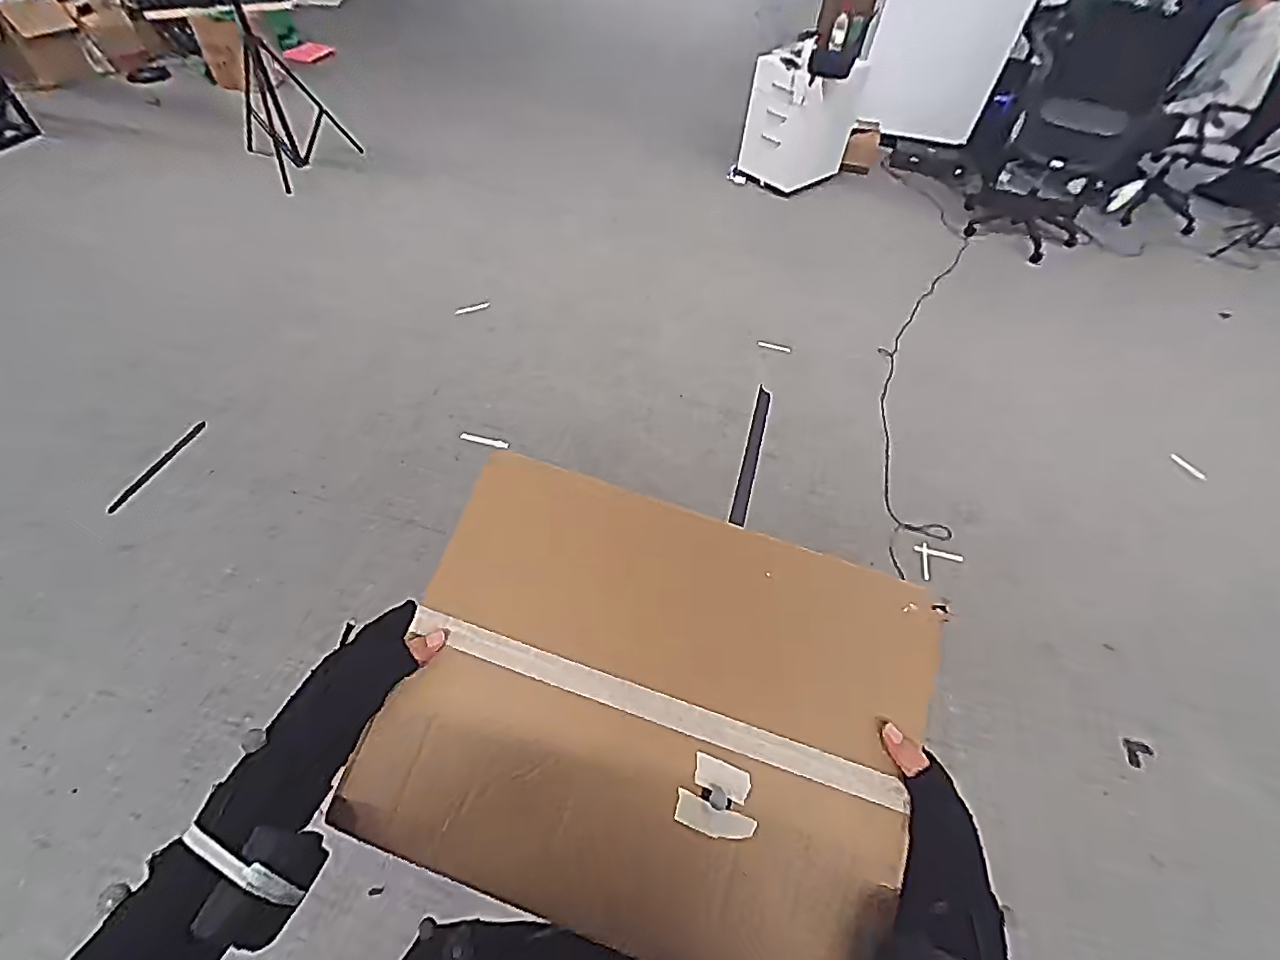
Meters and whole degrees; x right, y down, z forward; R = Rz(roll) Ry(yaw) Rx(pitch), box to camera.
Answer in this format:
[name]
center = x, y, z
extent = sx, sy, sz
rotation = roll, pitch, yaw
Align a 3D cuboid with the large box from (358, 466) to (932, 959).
[large box]
center = 0.015, 0.224, 0.579
extent = 0.408, 0.320, 0.320
rotation = 18, 74, 6
